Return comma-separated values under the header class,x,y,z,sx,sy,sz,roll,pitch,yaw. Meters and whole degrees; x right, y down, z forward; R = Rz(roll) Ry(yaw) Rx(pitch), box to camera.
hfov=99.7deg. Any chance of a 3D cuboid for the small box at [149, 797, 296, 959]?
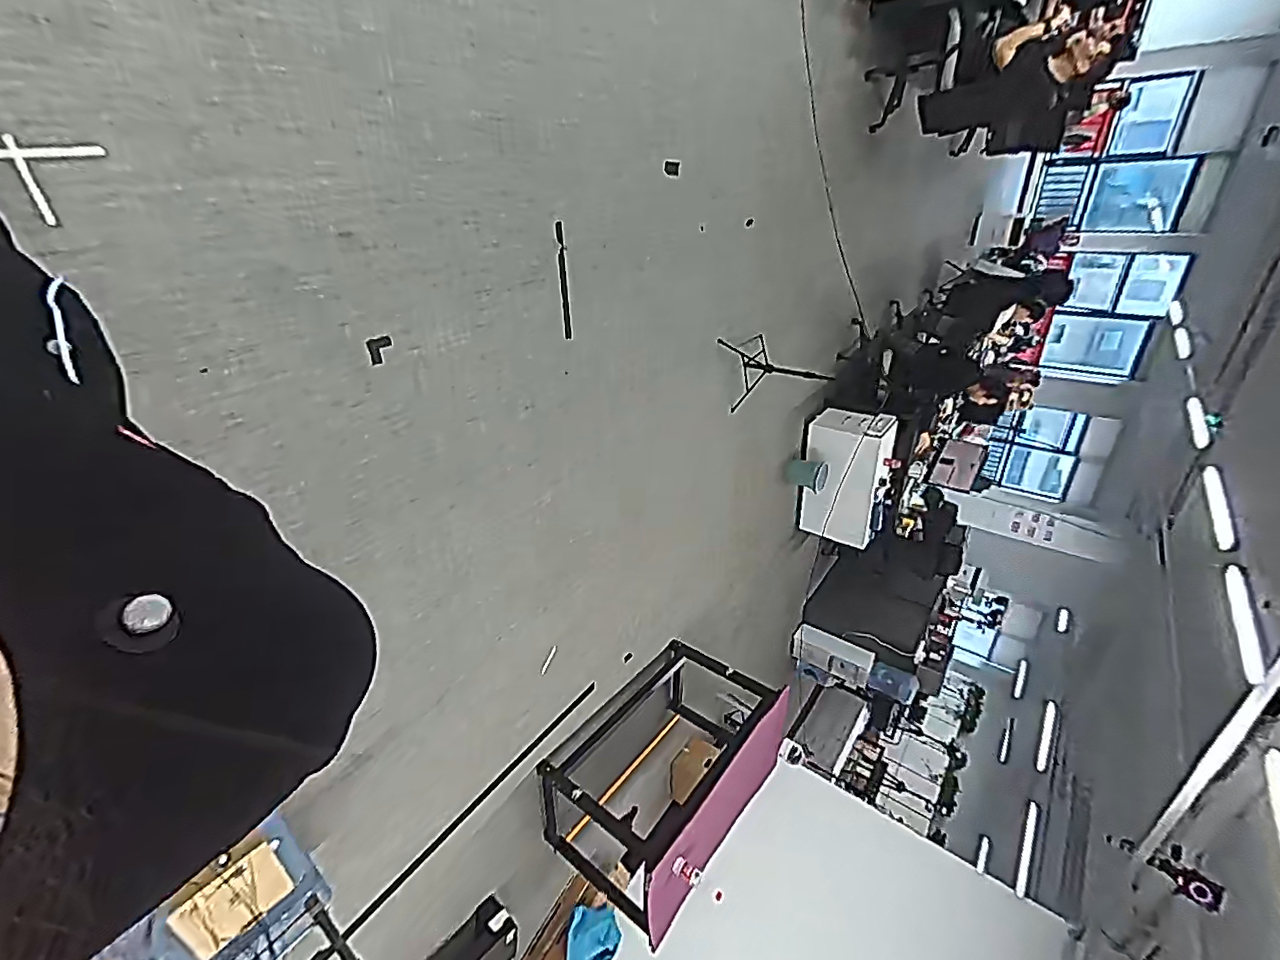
class,x,y,z,sx,sy,sz,roll,pitch,yaw
small box,-0.841,0.793,1.095,0.168,0.176,0.179,-32,131,-43
